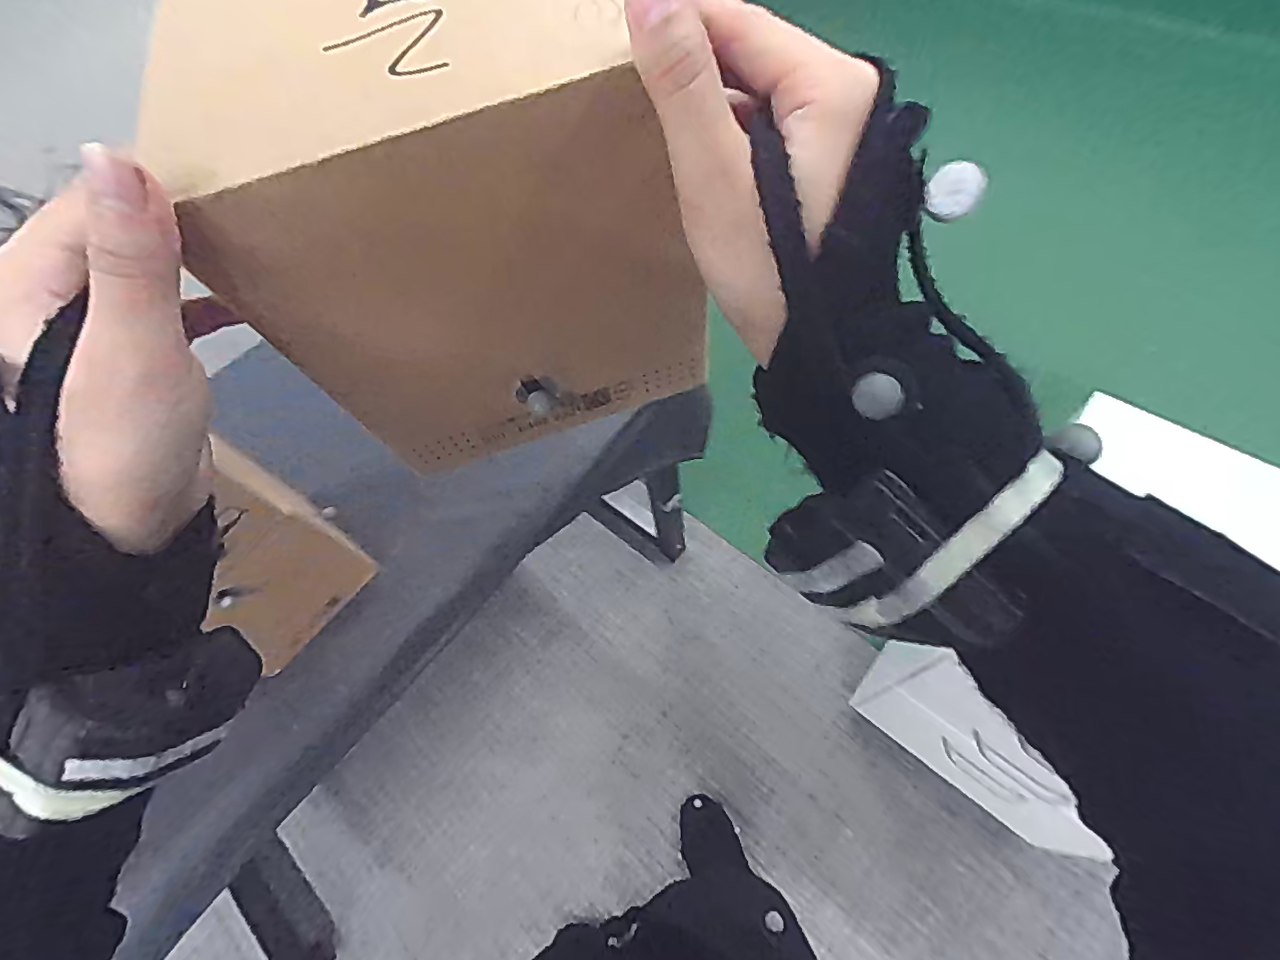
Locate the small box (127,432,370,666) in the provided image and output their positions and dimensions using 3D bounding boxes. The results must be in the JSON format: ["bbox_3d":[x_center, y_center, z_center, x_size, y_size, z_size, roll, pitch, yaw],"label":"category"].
[{"bbox_3d":[-0.453,0.084,0.607,0.179,0.176,0.168,31,69,22],"label":"small box"}]

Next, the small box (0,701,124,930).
[{"bbox_3d":[-0.649,0.316,0.496,0.179,0.176,0.168,30,68,21],"label":"small box"}]

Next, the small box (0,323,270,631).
[{"bbox_3d":[-0.472,0.008,0.460,0.179,0.176,0.168,32,67,22],"label":"small box"}]
